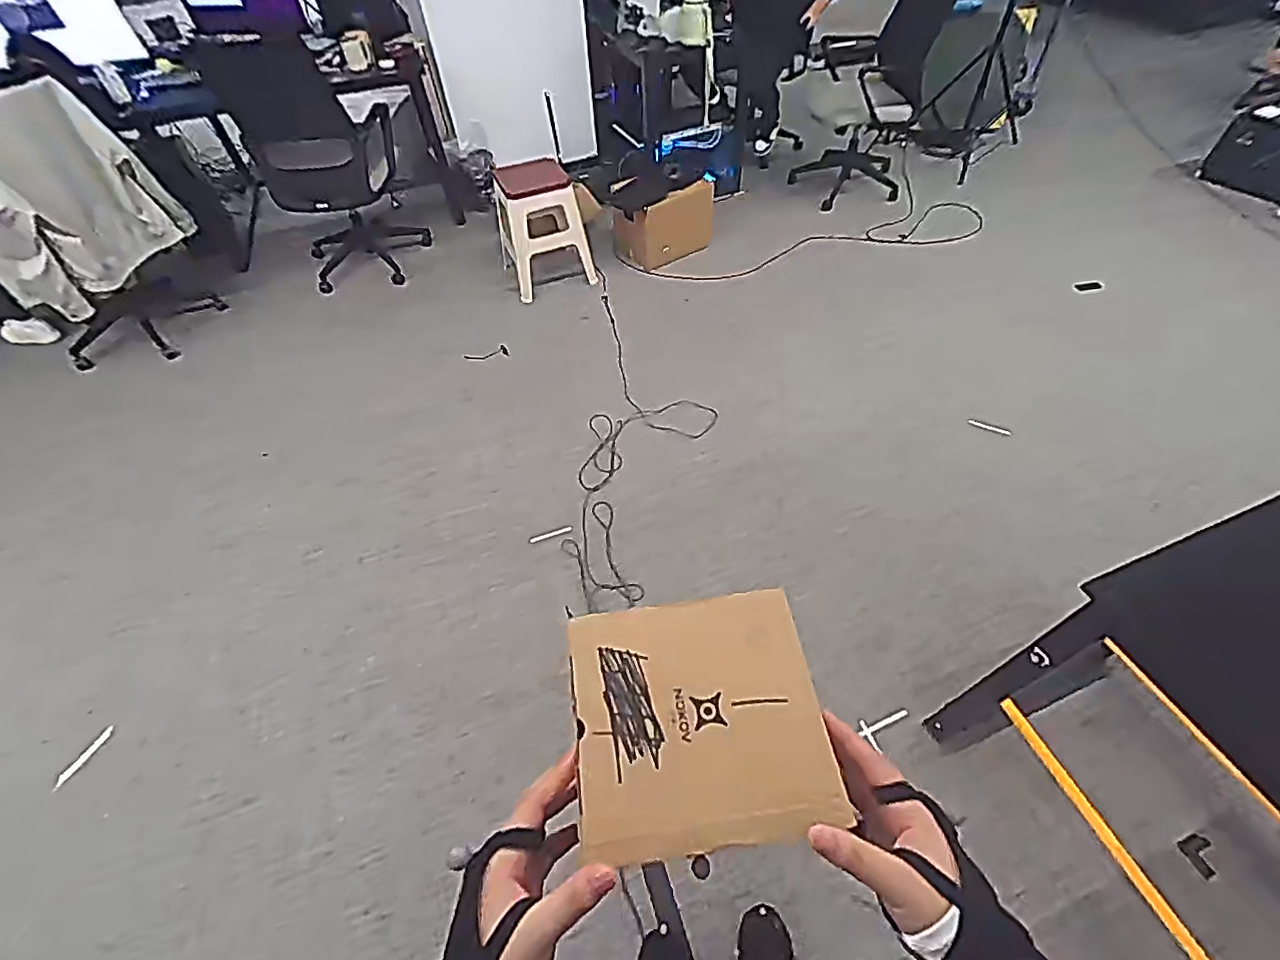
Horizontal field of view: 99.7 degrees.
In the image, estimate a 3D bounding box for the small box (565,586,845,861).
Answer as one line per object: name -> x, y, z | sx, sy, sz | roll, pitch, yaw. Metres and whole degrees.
small box -> 0.040, 0.208, 0.451 | 0.179, 0.176, 0.168 | -8, 56, -3
